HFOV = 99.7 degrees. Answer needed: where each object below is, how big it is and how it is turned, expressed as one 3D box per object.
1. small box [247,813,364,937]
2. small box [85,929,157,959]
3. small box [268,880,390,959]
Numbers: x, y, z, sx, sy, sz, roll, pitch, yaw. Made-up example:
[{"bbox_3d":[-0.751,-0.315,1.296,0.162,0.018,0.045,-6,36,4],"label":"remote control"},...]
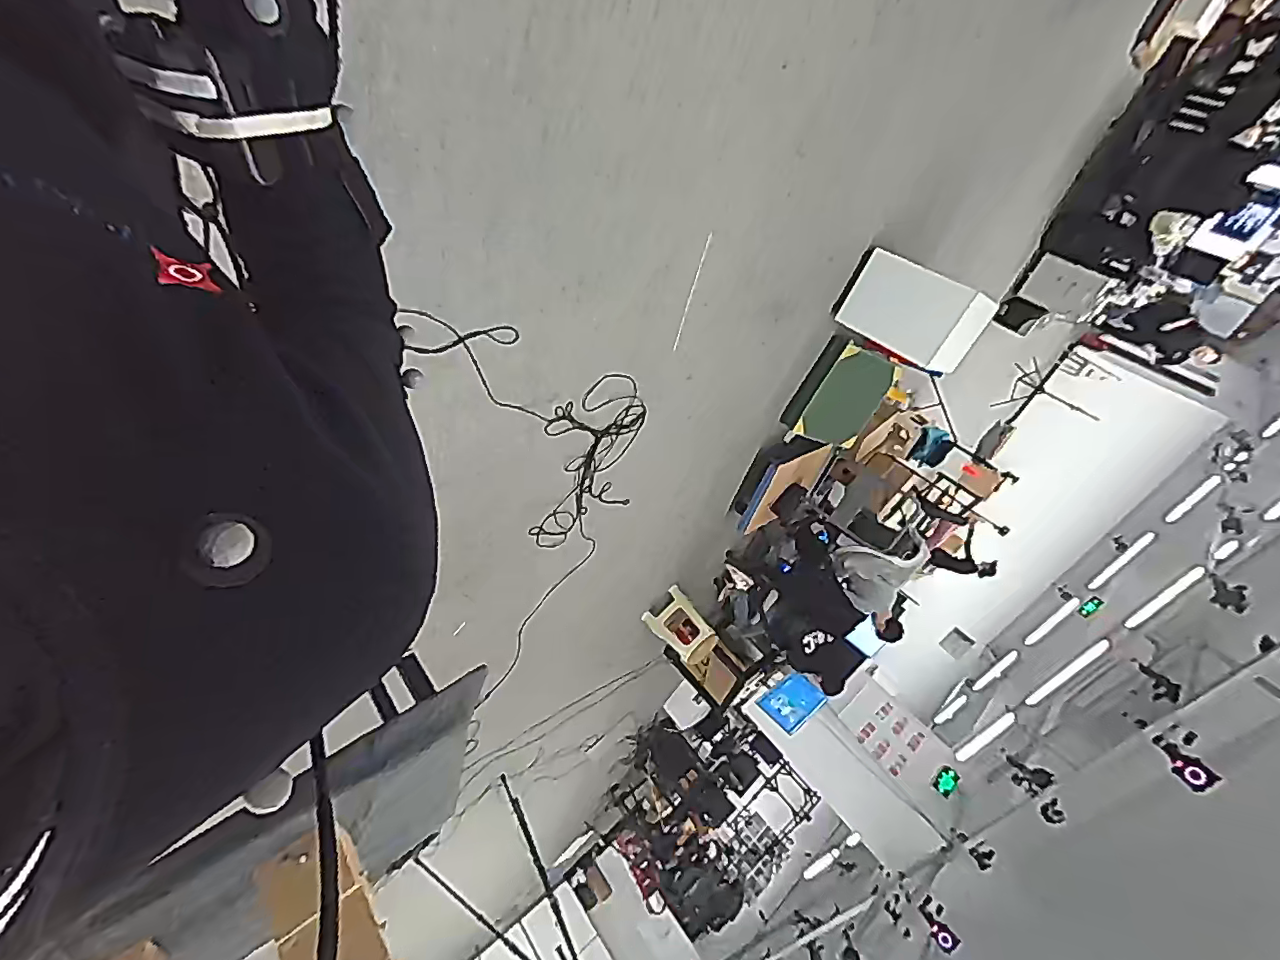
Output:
[{"bbox_3d":[-0.765,0.910,1.243,0.168,0.176,0.179,-26,145,-33],"label":"small box"},{"bbox_3d":[-1.035,1.020,1.026,0.179,0.176,0.168,-17,140,-41],"label":"small box"},{"bbox_3d":[-0.669,1.020,1.172,0.179,0.176,0.168,-22,142,-35],"label":"small box"}]
